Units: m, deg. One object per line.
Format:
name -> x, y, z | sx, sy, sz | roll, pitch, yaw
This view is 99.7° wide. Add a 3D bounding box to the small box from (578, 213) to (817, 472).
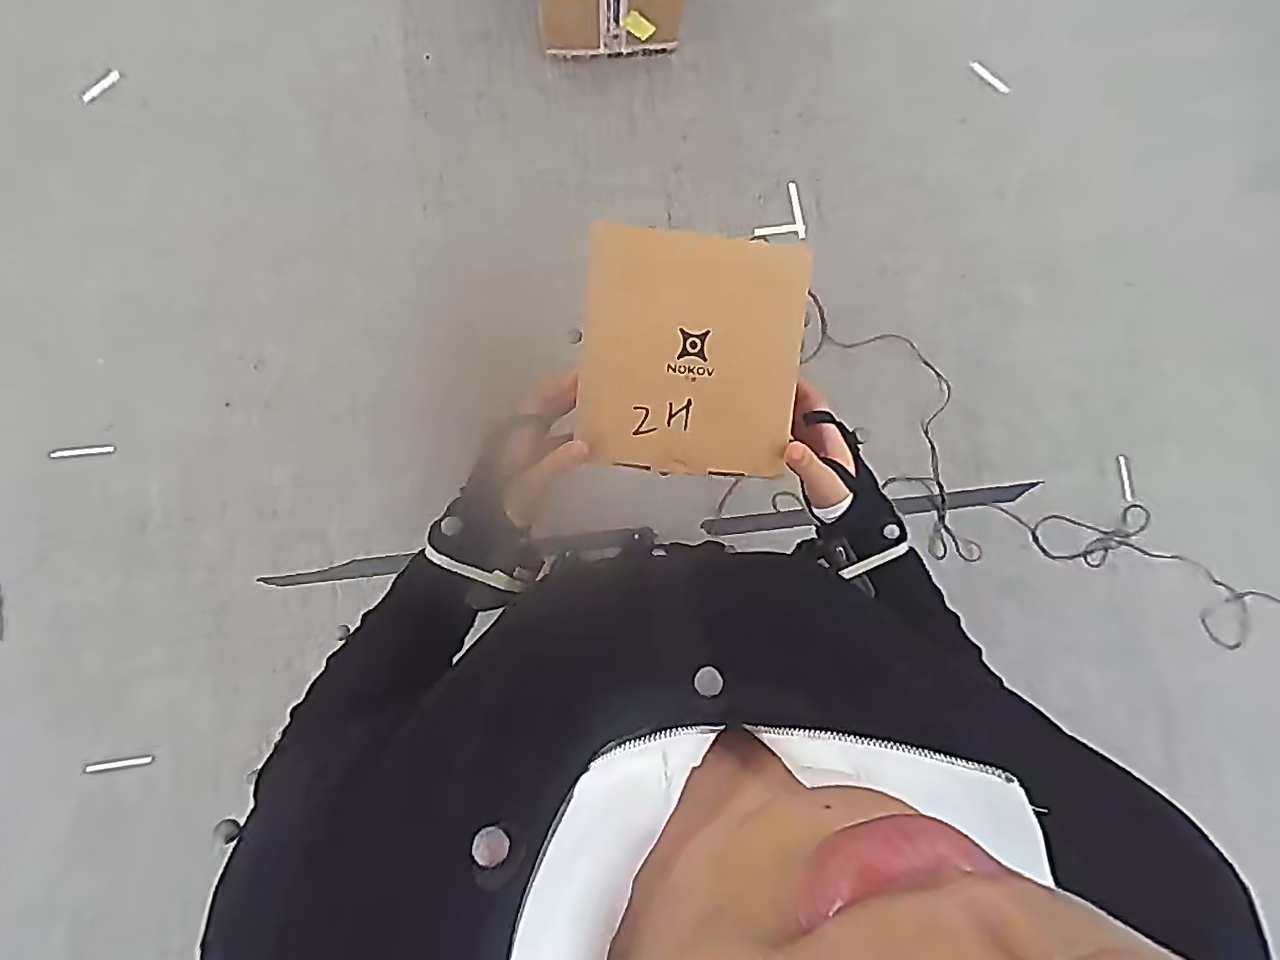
small box -> 0.038, -0.109, 0.481 | 0.168, 0.176, 0.179 | 5, 97, -3
